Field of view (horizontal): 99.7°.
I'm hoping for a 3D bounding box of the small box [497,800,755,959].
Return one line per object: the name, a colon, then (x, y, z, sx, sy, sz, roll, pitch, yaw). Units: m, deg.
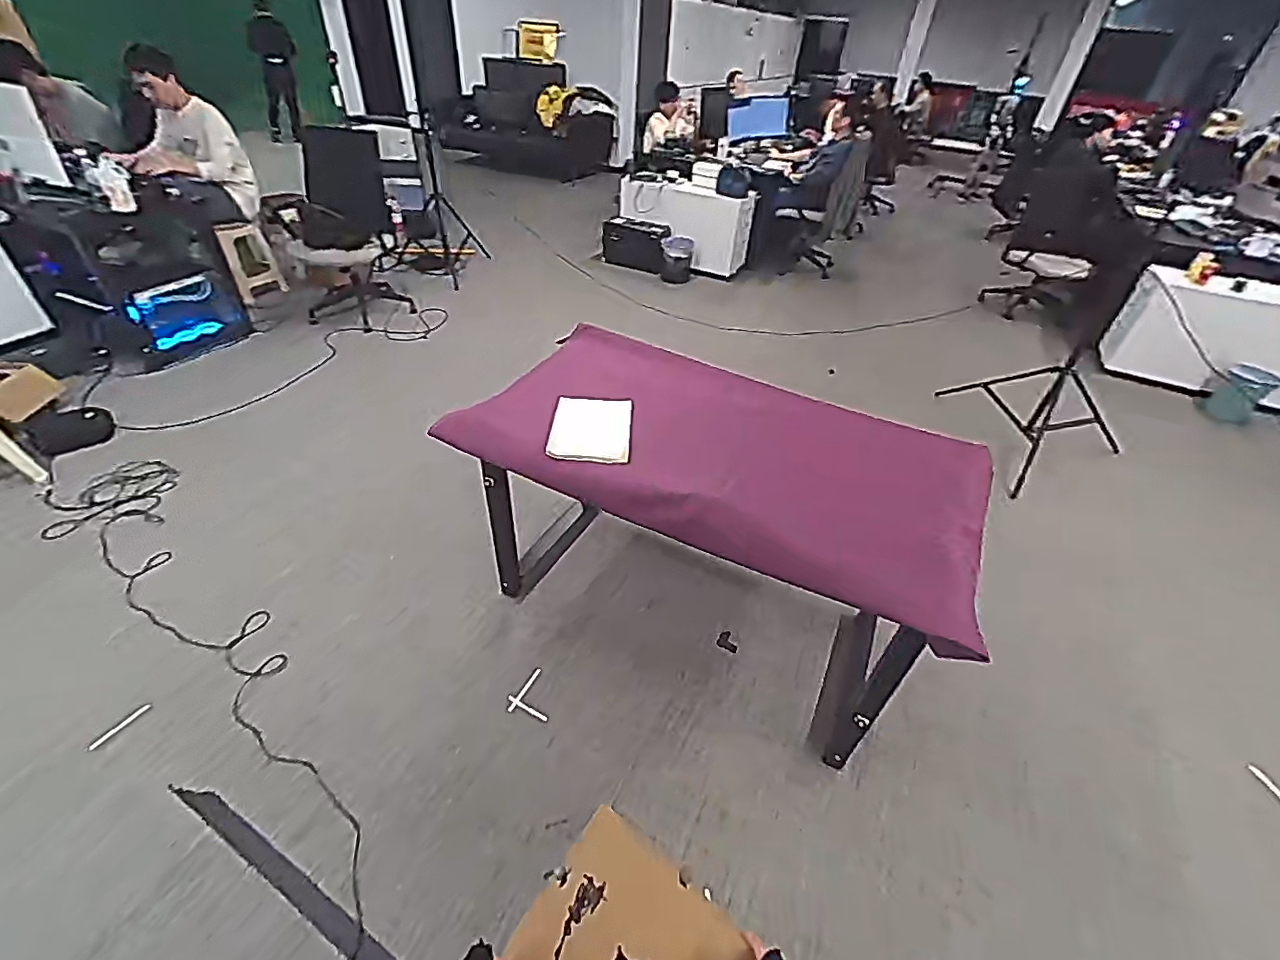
small box: (-0.019, 0.452, 0.543, 0.179, 0.176, 0.168, 36, 65, 11)
